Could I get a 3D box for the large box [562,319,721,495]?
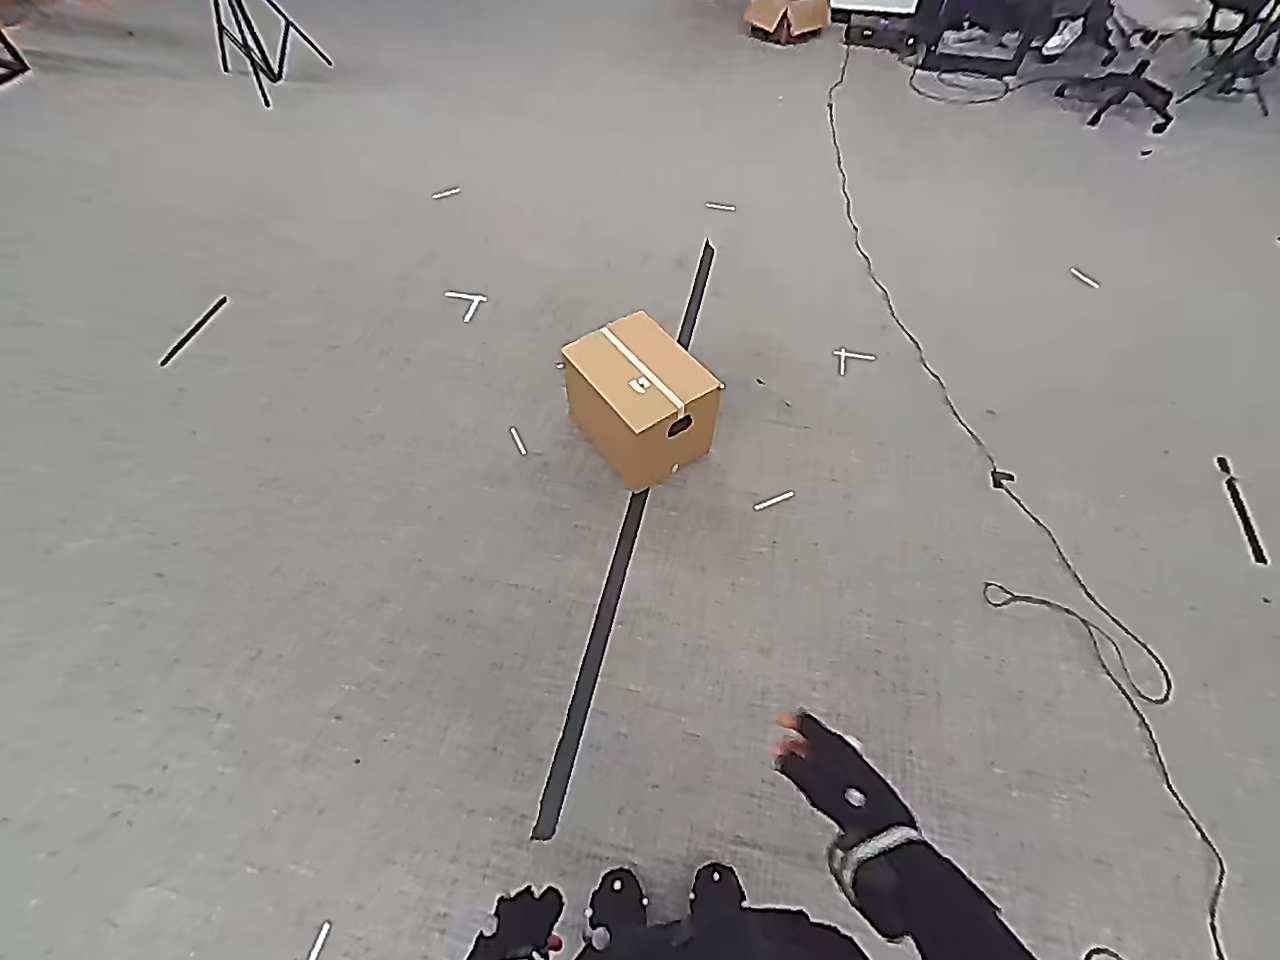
[{"bbox_3d":[-0.006,-0.235,1.732,0.320,0.320,0.408,-31,63,-20],"label":"large box"}]
